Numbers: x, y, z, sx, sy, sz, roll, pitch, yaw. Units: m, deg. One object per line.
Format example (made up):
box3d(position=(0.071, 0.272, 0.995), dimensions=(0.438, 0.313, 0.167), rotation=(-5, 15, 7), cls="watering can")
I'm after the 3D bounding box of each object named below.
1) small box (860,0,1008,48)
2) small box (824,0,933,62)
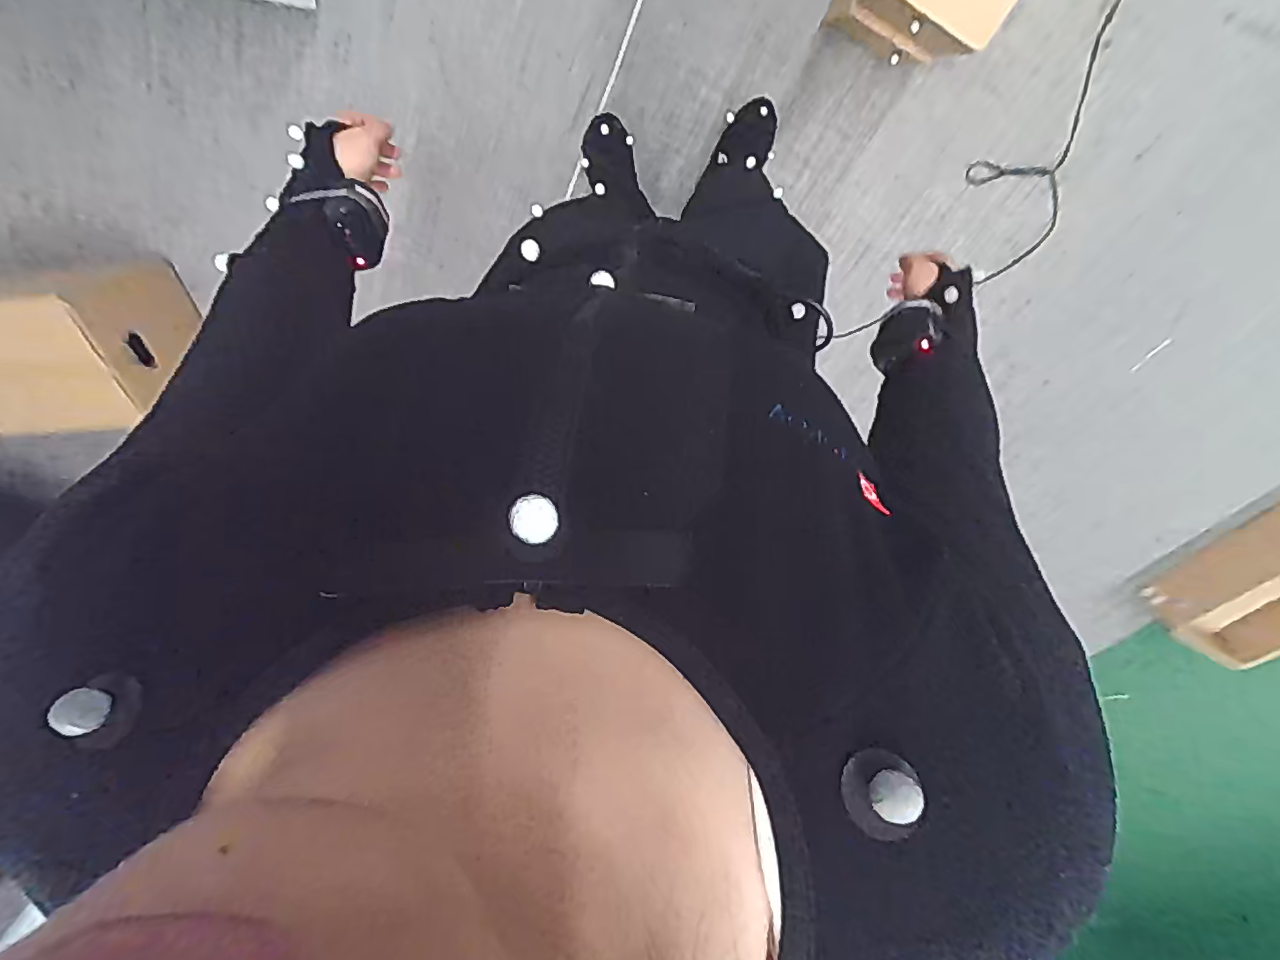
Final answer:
box3d(position=(0.463, -0.785, 0.814), dimensions=(0.179, 0.176, 0.168), rotation=(20, 126, -14), cls="small box")
box3d(position=(0.457, -0.875, 0.952), dimensions=(0.179, 0.176, 0.168), rotation=(20, 125, -13), cls="small box")
